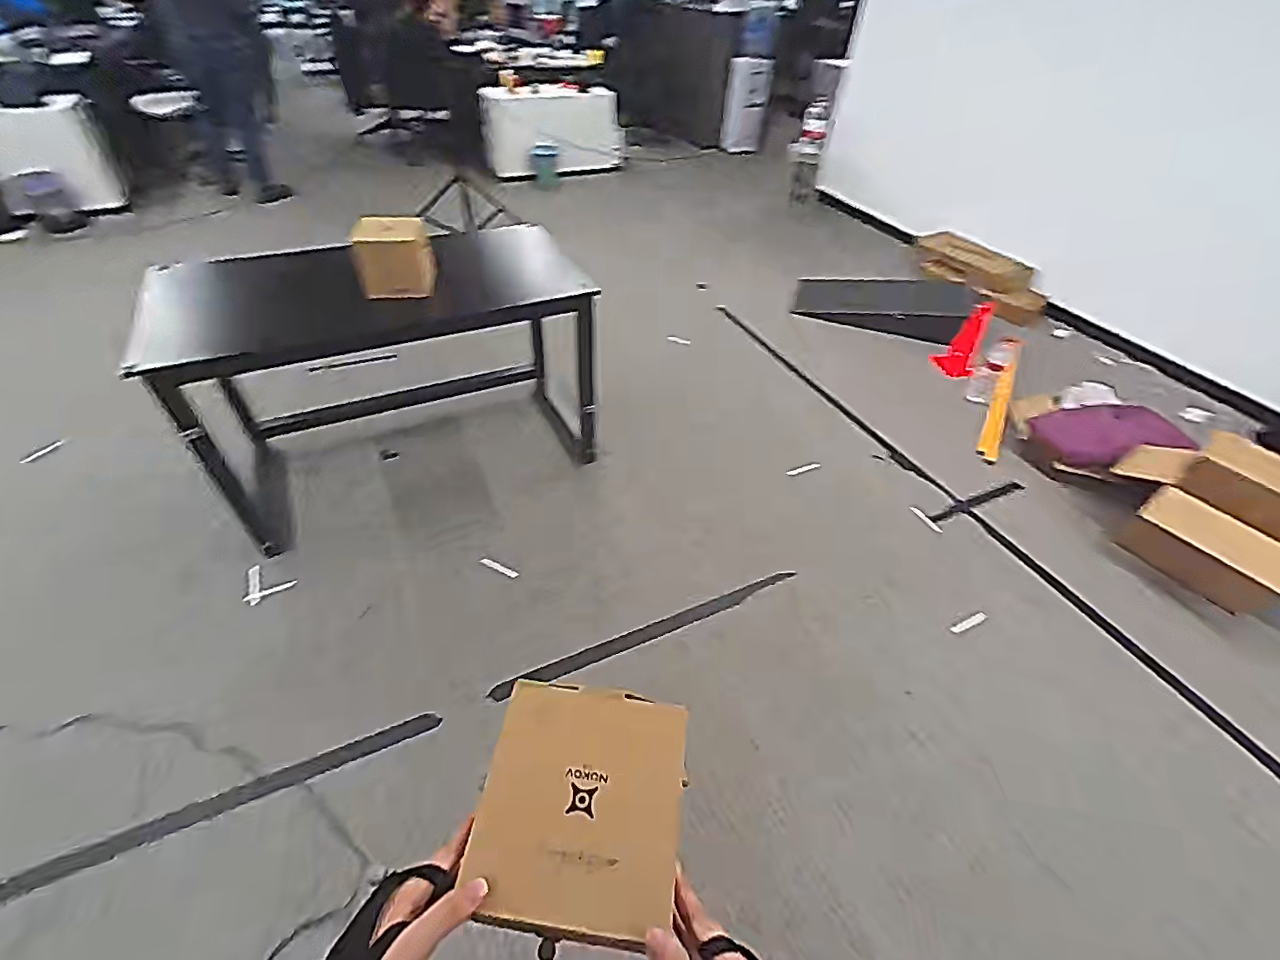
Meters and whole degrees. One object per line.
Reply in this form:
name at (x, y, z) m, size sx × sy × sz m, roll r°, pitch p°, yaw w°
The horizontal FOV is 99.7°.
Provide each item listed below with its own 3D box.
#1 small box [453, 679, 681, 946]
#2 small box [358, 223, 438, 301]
small box at (-0.058, 0.317, 0.515) m, size 0.168 × 0.176 × 0.179 m, roll 7°, pitch 48°, yaw 2°
small box at (-0.703, -0.640, 1.593) m, size 0.168 × 0.176 × 0.179 m, roll -3°, pitch 44°, yaw -8°
